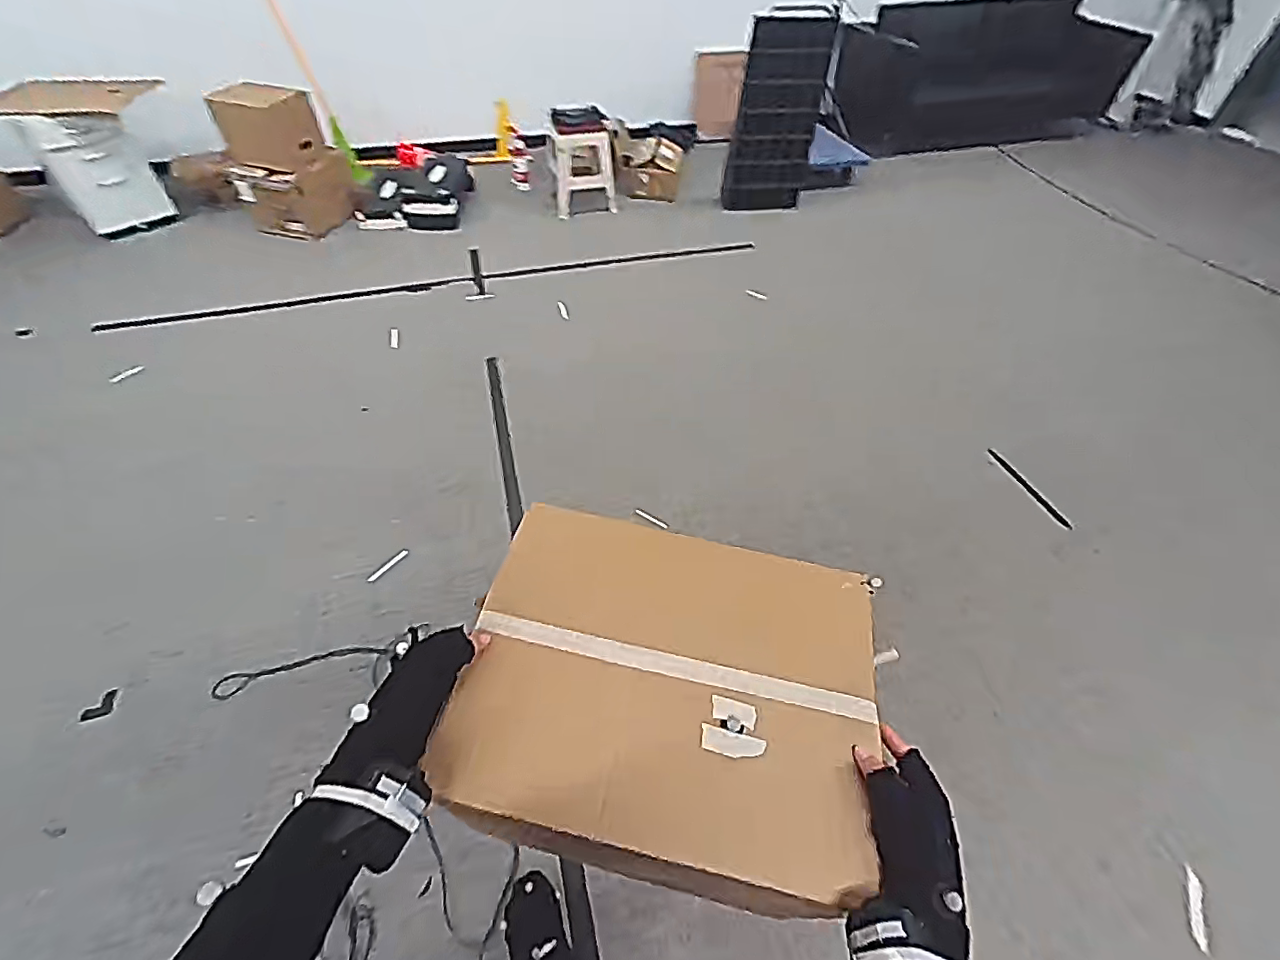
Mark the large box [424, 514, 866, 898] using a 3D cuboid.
[{"bbox_3d":[0.014,0.285,0.676,0.408,0.320,0.320,12,52,4],"label":"large box"}]
